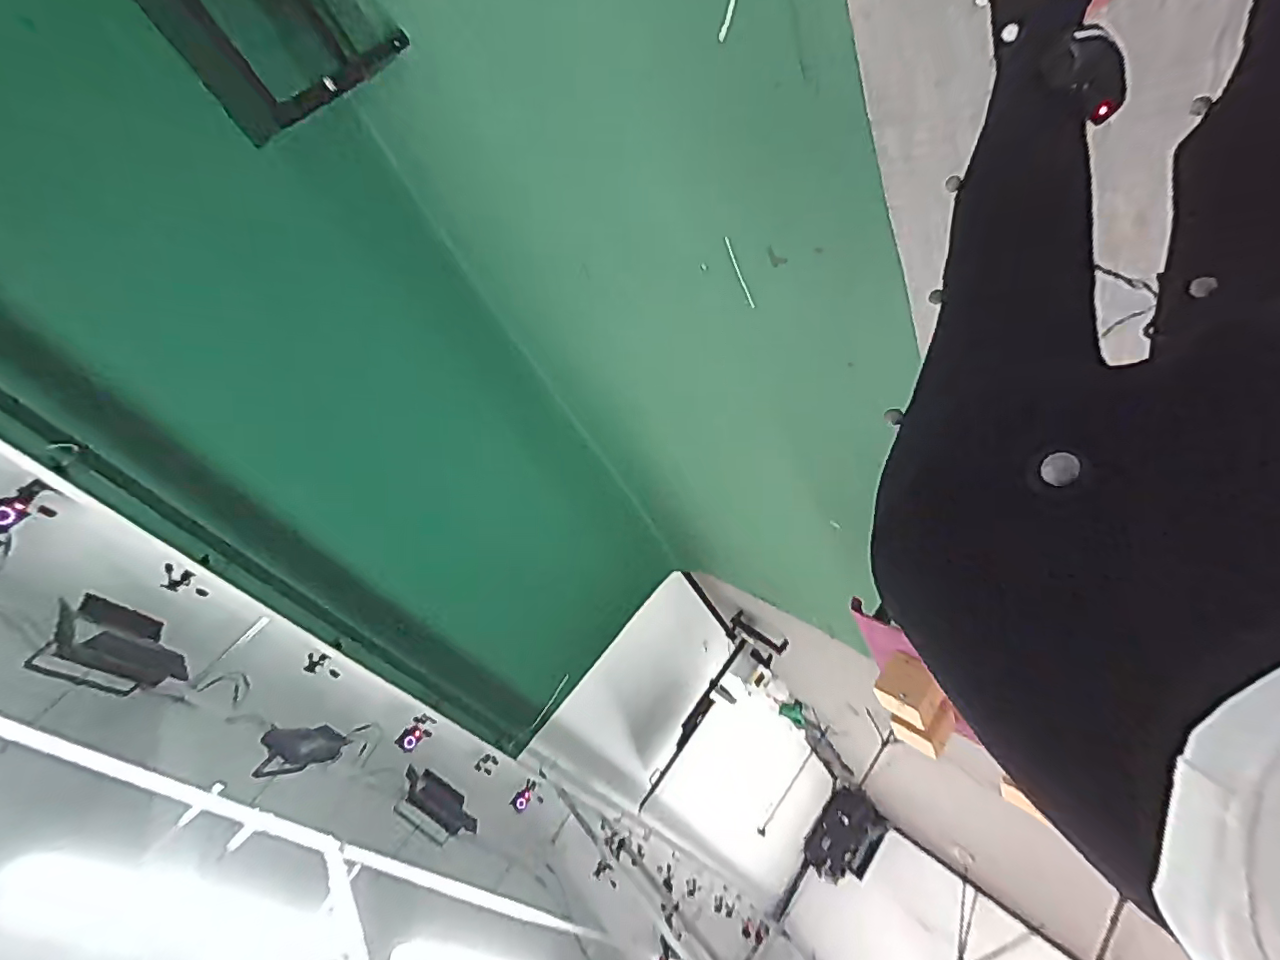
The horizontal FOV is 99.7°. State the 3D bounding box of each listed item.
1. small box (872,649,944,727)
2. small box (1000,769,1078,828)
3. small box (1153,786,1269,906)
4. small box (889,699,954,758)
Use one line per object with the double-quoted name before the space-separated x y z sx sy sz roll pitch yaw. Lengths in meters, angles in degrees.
"small box" 0.970 0.745 1.945 0.168 0.176 0.179 19 154 47
"small box" 1.335 1.011 1.808 0.168 0.176 0.179 22 153 48
"small box" 1.434 0.914 1.362 0.168 0.176 0.179 20 154 51
"small box" 1.104 0.938 2.110 0.168 0.176 0.179 19 150 47
